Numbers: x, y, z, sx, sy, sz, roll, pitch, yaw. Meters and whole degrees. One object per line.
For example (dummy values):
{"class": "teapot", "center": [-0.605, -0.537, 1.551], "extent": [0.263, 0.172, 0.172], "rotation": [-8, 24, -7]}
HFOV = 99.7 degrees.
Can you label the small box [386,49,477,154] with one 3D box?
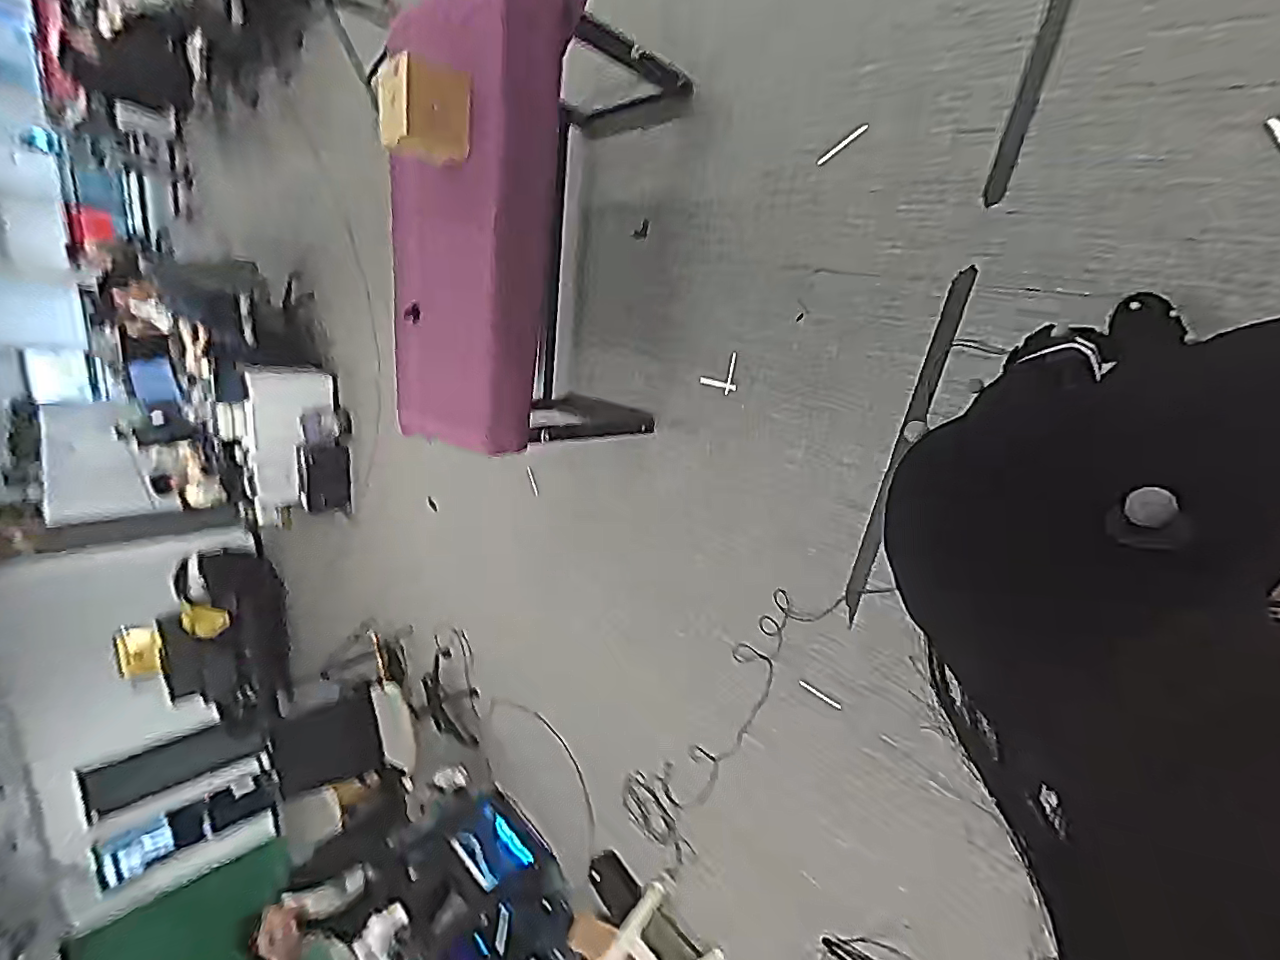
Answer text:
{"class": "small box", "center": [-0.537, -0.963, 1.399], "extent": [0.168, 0.176, 0.179], "rotation": [20, 112, 41]}
